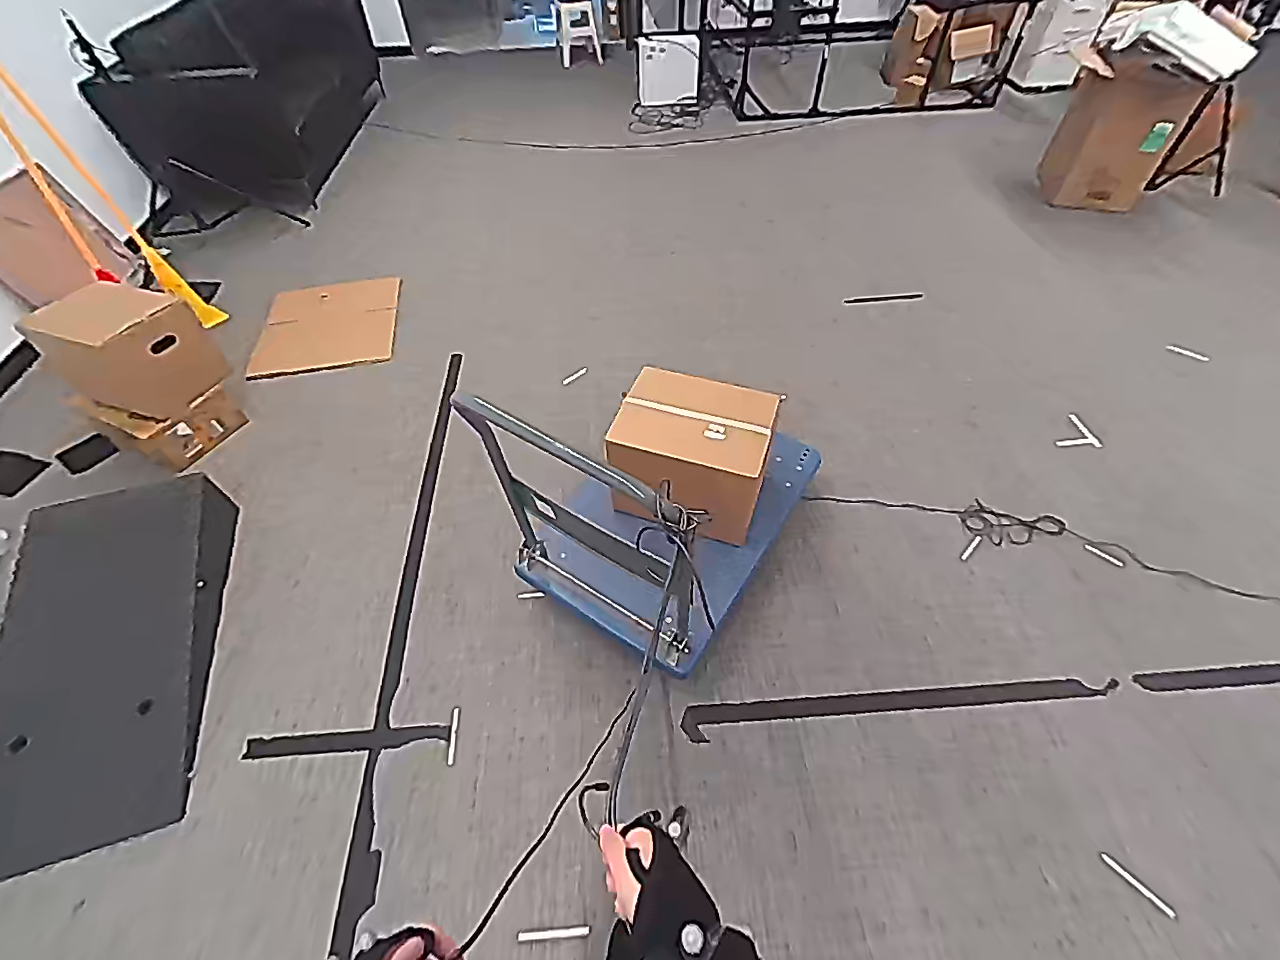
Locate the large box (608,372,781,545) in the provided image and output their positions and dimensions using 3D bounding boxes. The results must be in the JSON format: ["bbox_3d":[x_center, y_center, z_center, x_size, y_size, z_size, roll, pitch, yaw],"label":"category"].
[{"bbox_3d":[0.151,-0.062,1.548,0.408,0.320,0.320,15,53,13],"label":"large box"}]
